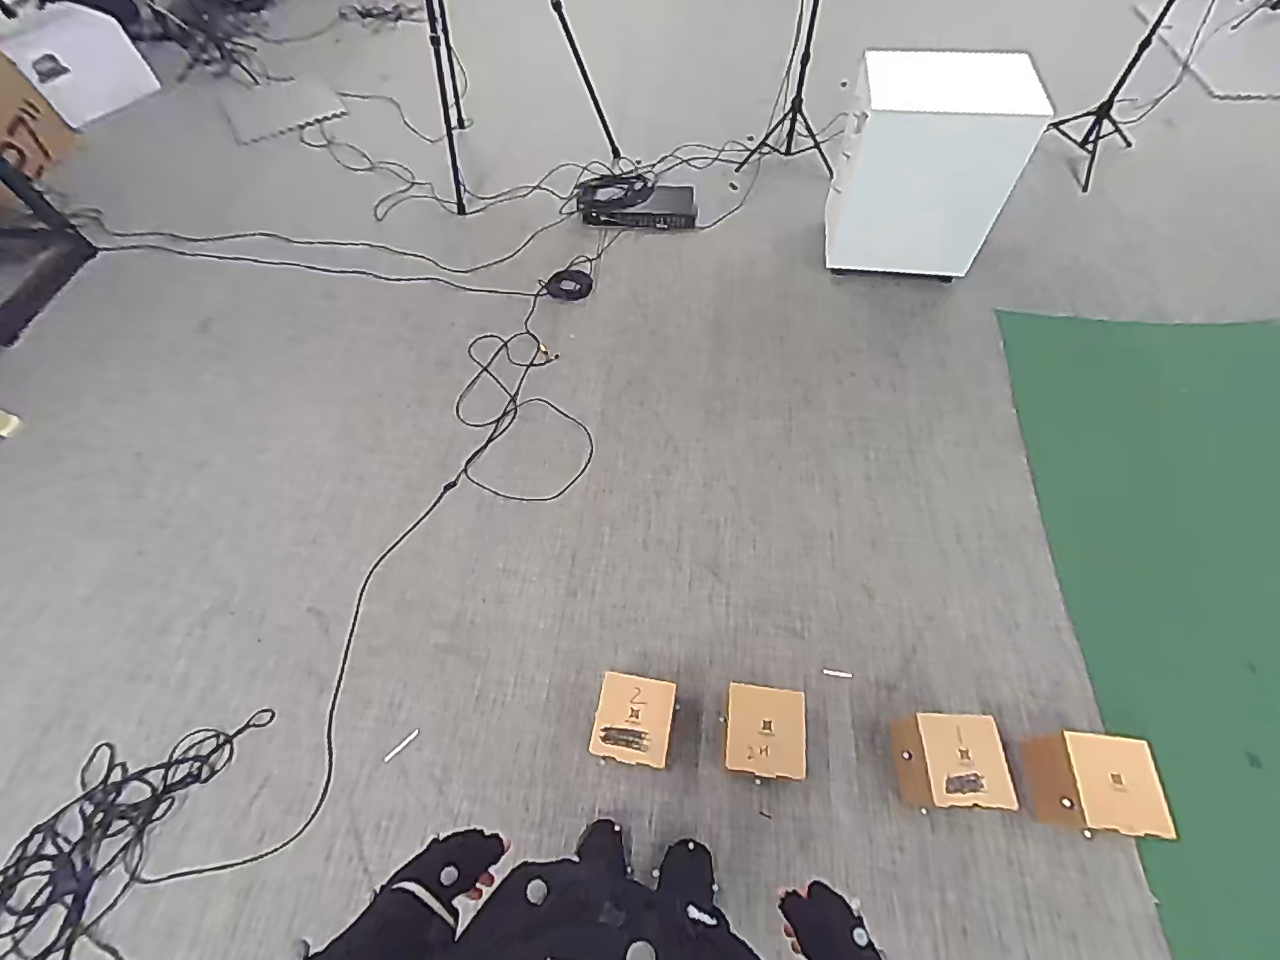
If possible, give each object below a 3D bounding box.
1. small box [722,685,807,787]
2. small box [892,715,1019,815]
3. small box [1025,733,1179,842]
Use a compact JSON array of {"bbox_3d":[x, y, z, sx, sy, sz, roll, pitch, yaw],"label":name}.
[{"bbox_3d":[0.276,0.581,1.221,0.168,0.176,0.179,5,59,7],"label":"small box"},{"bbox_3d":[0.674,0.625,1.181,0.168,0.176,0.179,1,57,3],"label":"small box"},{"bbox_3d":[0.964,0.655,1.152,0.168,0.176,0.179,4,59,6],"label":"small box"}]
